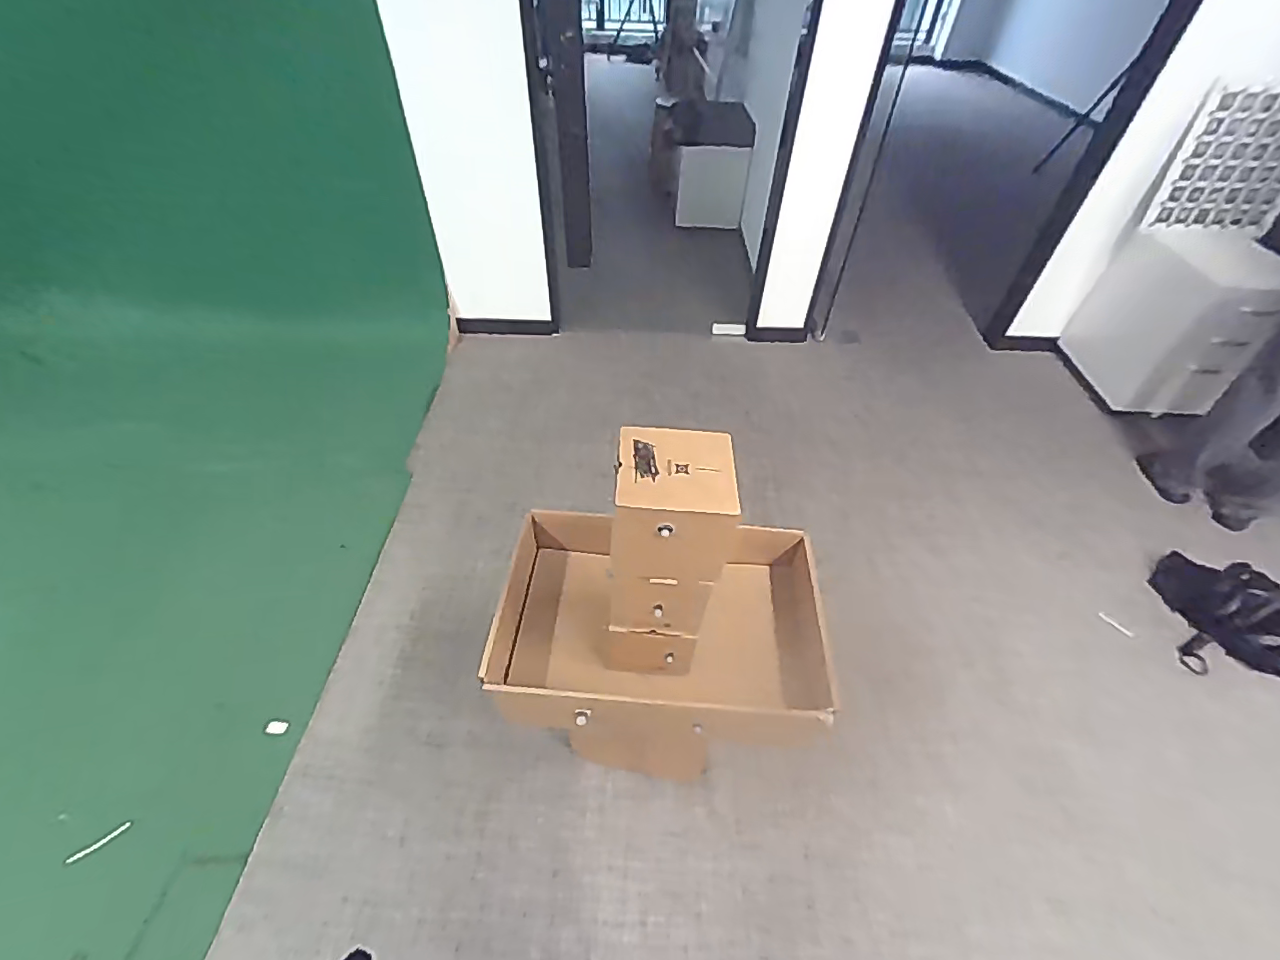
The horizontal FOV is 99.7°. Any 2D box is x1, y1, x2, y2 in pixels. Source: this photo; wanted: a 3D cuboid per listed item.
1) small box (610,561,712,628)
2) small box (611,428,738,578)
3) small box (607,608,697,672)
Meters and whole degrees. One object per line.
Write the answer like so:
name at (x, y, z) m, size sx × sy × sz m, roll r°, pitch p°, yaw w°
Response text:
small box at (0.035, 0.149, 0.971) m, size 0.168 × 0.176 × 0.179 m, roll 5°, pitch 48°, yaw -1°
small box at (0.047, 0.039, 0.849) m, size 0.179 × 0.176 × 0.168 m, roll 4°, pitch 47°, yaw -2°
small box at (0.024, 0.267, 1.085) m, size 0.168 × 0.176 × 0.179 m, roll 5°, pitch 45°, yaw -1°
